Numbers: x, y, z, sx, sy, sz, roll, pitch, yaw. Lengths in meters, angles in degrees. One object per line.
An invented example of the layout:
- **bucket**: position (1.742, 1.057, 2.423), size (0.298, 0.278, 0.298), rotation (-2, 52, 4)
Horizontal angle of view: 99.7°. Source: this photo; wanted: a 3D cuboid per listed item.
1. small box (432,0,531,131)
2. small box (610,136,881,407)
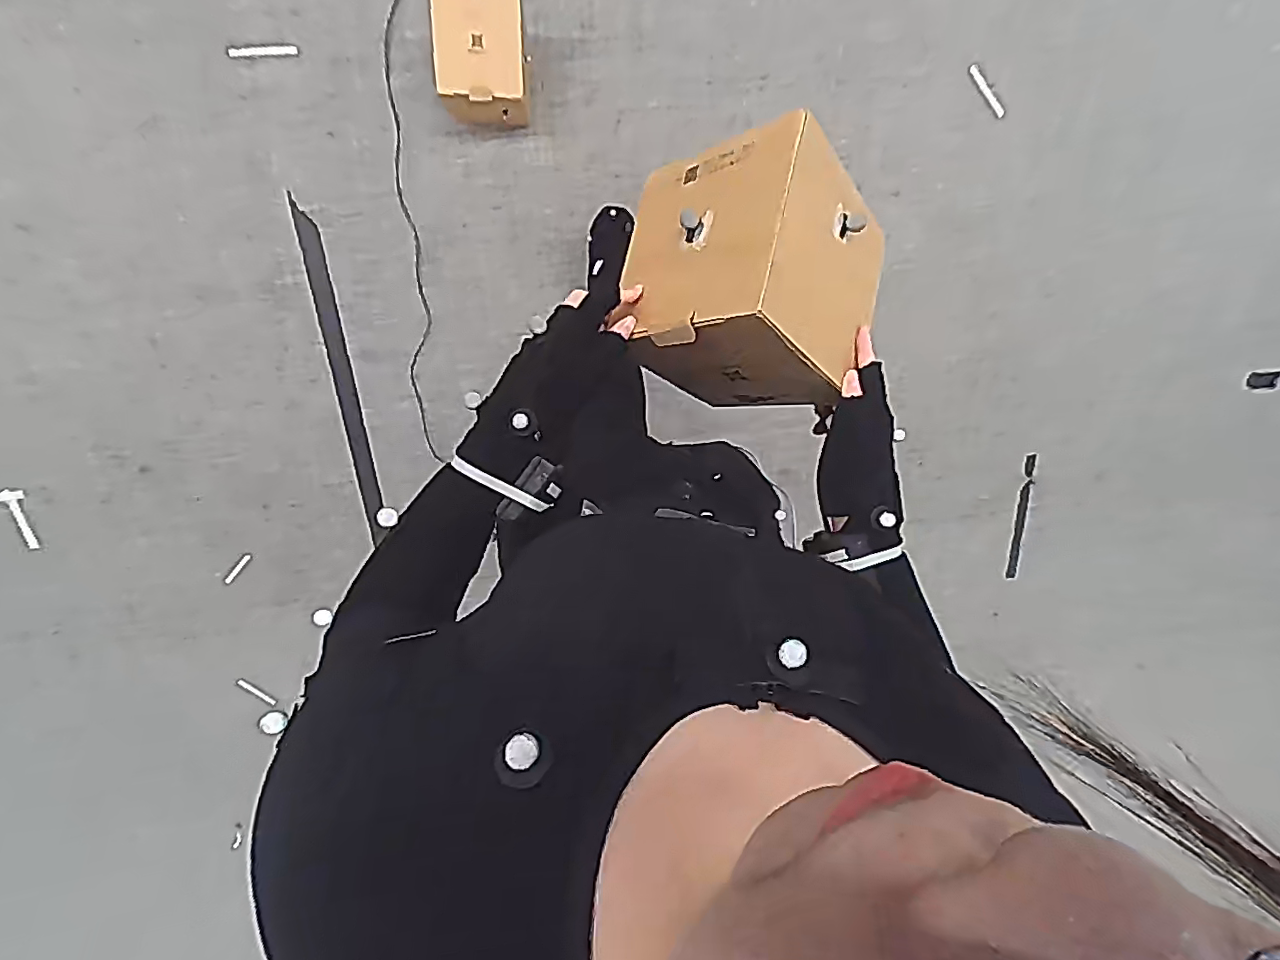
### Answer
- **small box**: position (-0.314, -0.836, 1.103), size (0.168, 0.176, 0.179), rotation (0, 107, -6)
- **small box**: position (0.104, -0.180, 0.504), size (0.179, 0.168, 0.176), rotation (22, 79, -44)
